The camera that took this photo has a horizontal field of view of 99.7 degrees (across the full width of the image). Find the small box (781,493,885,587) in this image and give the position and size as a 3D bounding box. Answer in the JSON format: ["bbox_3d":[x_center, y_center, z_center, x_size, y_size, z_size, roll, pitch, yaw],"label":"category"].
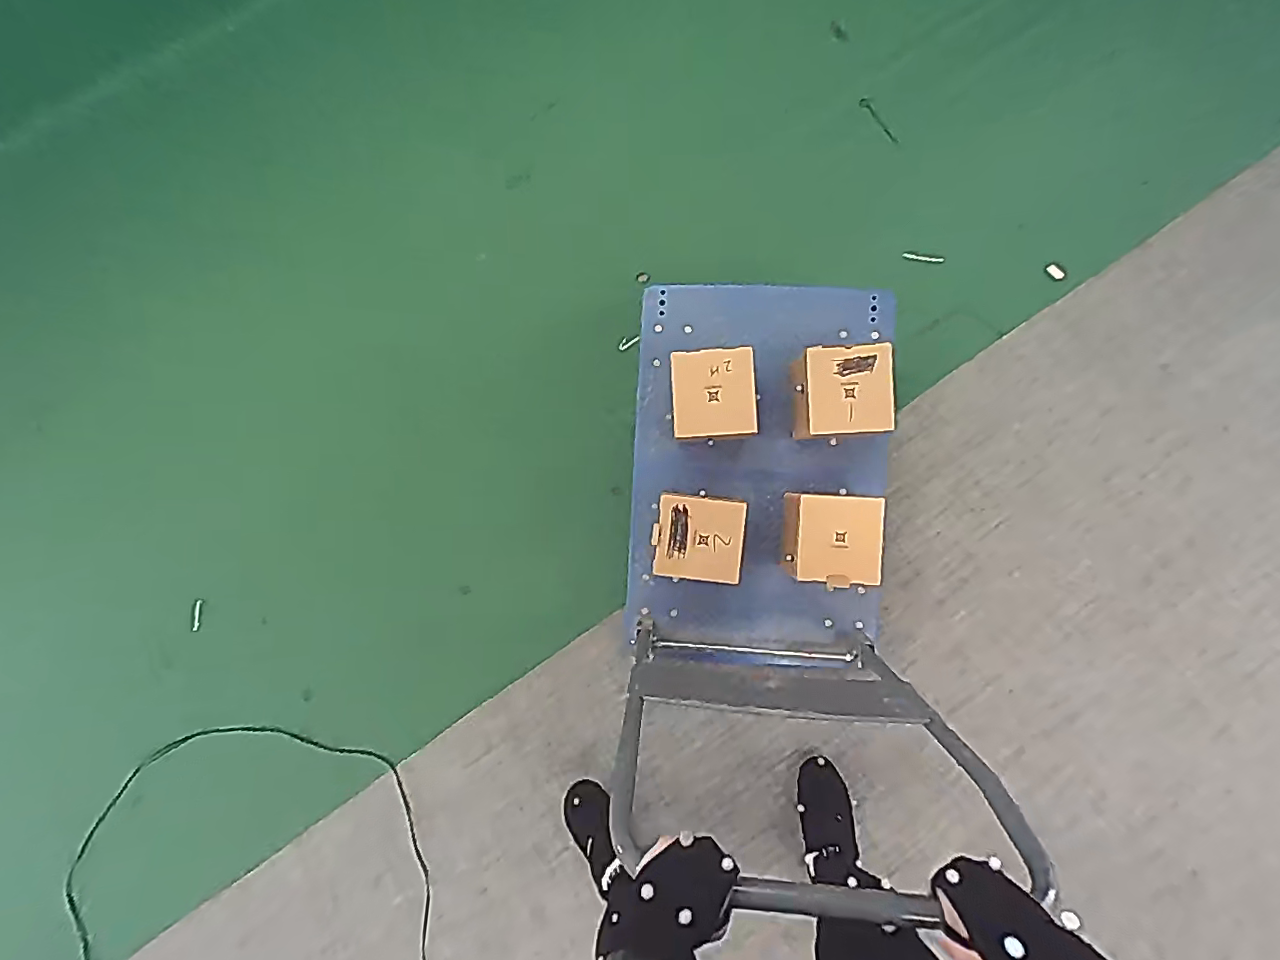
[{"bbox_3d":[0.402,0.120,1.152,0.168,0.176,0.179,3,91,4],"label":"small box"}]

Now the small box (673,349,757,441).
[{"bbox_3d":[0.157,-0.174,1.166,0.168,0.176,0.179,-3,90,3],"label":"small box"}]

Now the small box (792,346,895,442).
[{"bbox_3d":[0.424,-0.176,1.149,0.168,0.176,0.179,-2,91,4],"label":"small box"}]
